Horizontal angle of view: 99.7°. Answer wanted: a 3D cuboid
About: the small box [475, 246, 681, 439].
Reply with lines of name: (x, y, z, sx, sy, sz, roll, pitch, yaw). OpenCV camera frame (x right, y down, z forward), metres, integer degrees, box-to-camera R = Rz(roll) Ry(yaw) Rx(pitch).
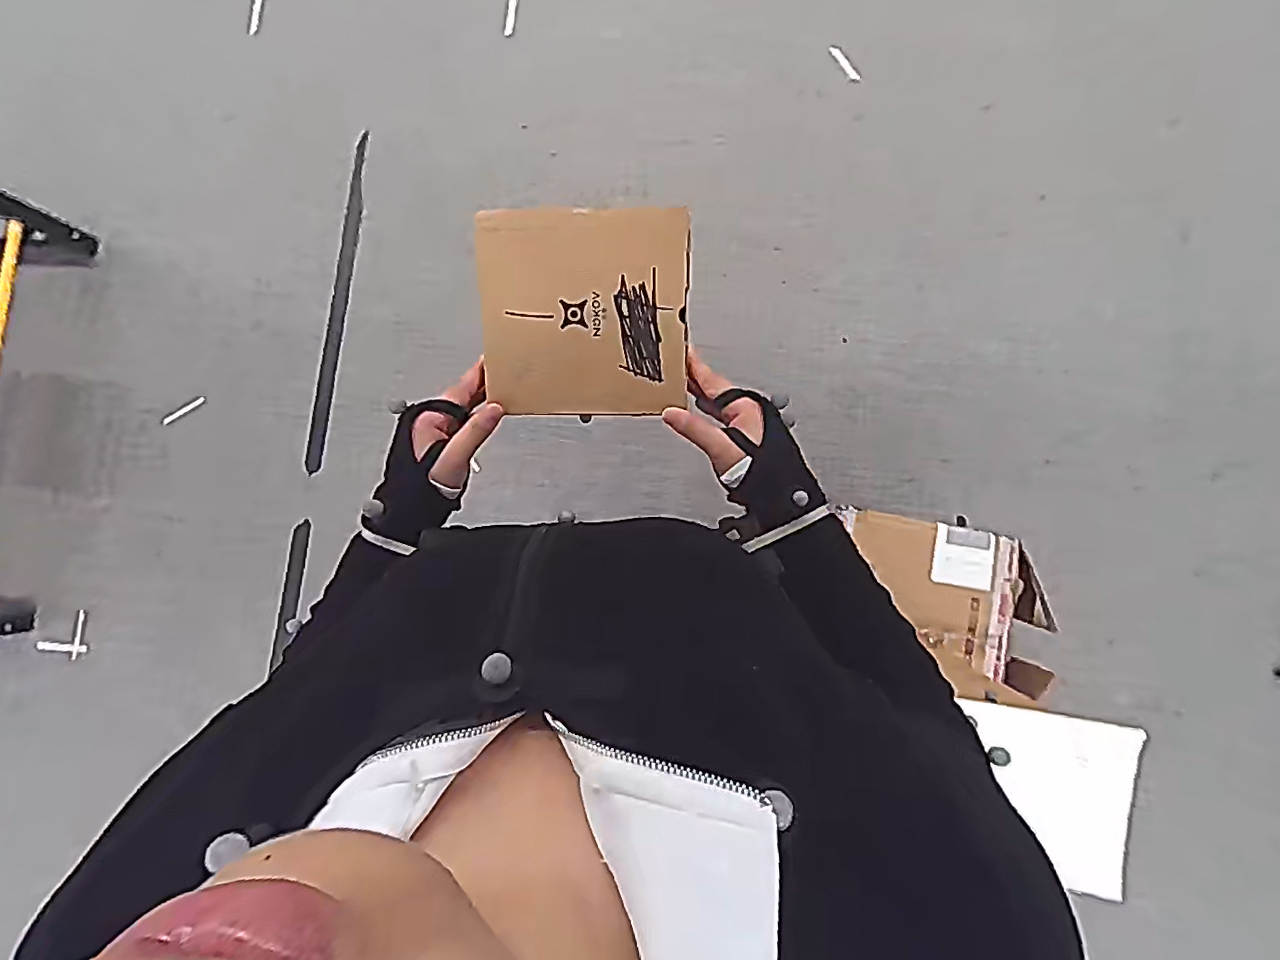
small box: (-0.053, -0.135, 0.549, 0.179, 0.176, 0.168, 0, 103, 1)
